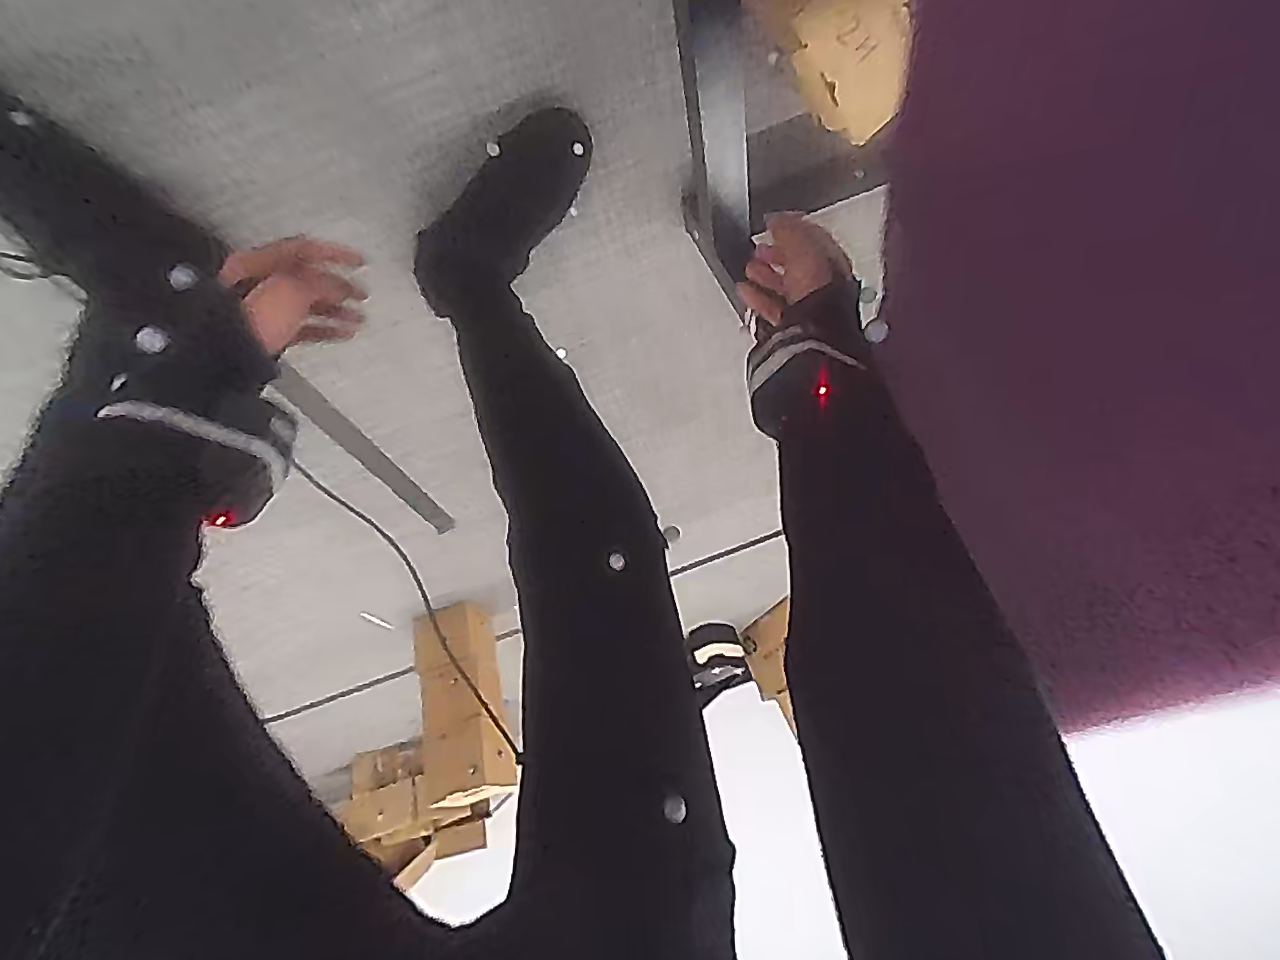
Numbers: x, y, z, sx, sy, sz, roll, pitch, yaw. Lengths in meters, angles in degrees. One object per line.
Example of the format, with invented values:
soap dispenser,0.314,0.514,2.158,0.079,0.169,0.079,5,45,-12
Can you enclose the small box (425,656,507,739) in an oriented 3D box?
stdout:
small box,-0.493,0.618,1.535,0.168,0.176,0.179,-18,147,0

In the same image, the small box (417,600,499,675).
small box,-0.542,0.483,1.613,0.179,0.176,0.168,-21,147,3
